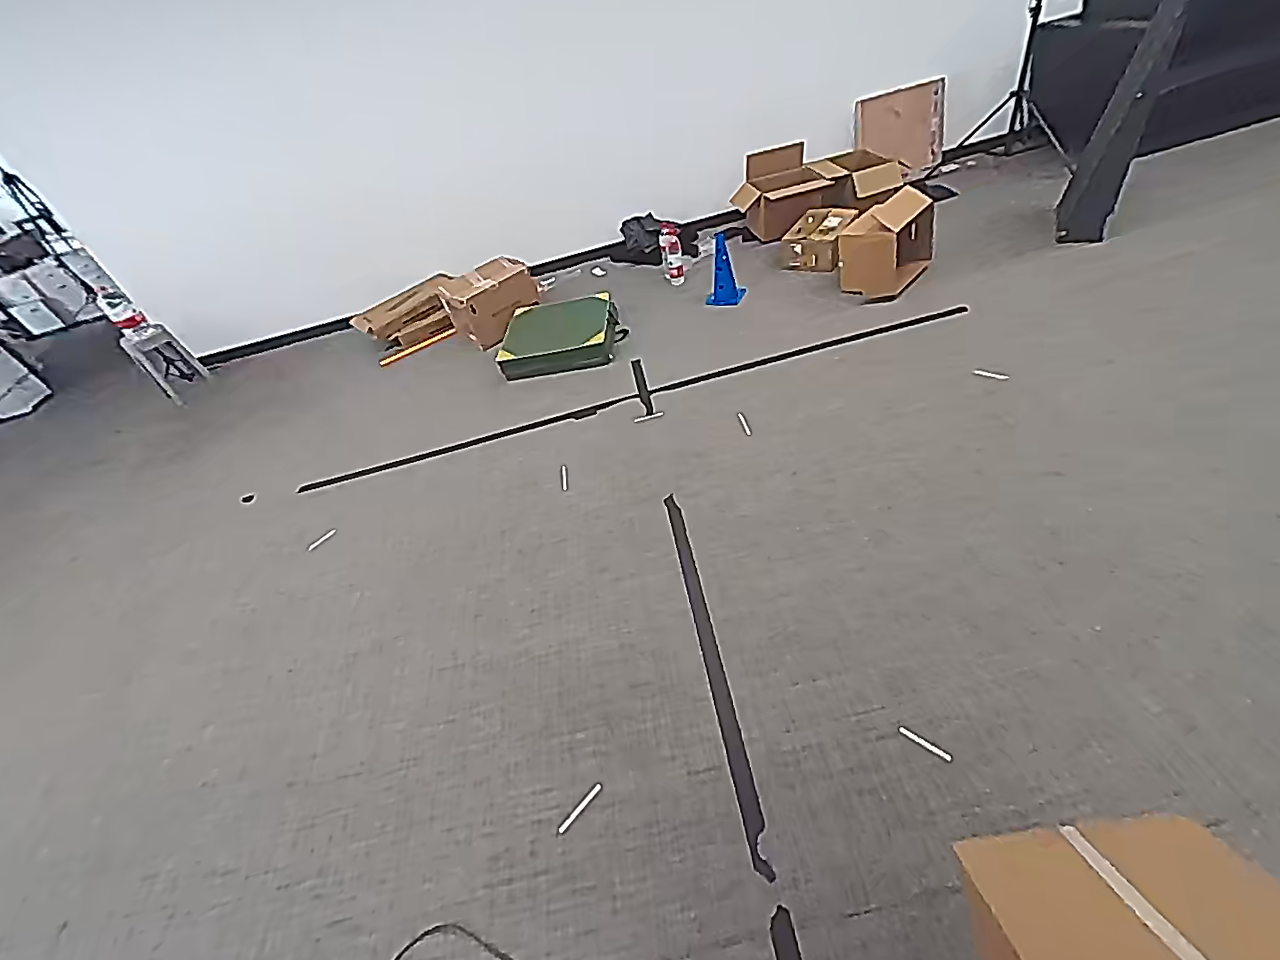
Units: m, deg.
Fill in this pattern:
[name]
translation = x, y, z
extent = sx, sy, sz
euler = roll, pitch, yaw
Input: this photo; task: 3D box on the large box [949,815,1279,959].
[large box]
translation = 0.600, 0.646, 0.567
extent = 0.320, 0.320, 0.408
euler = -15, 1, 8
